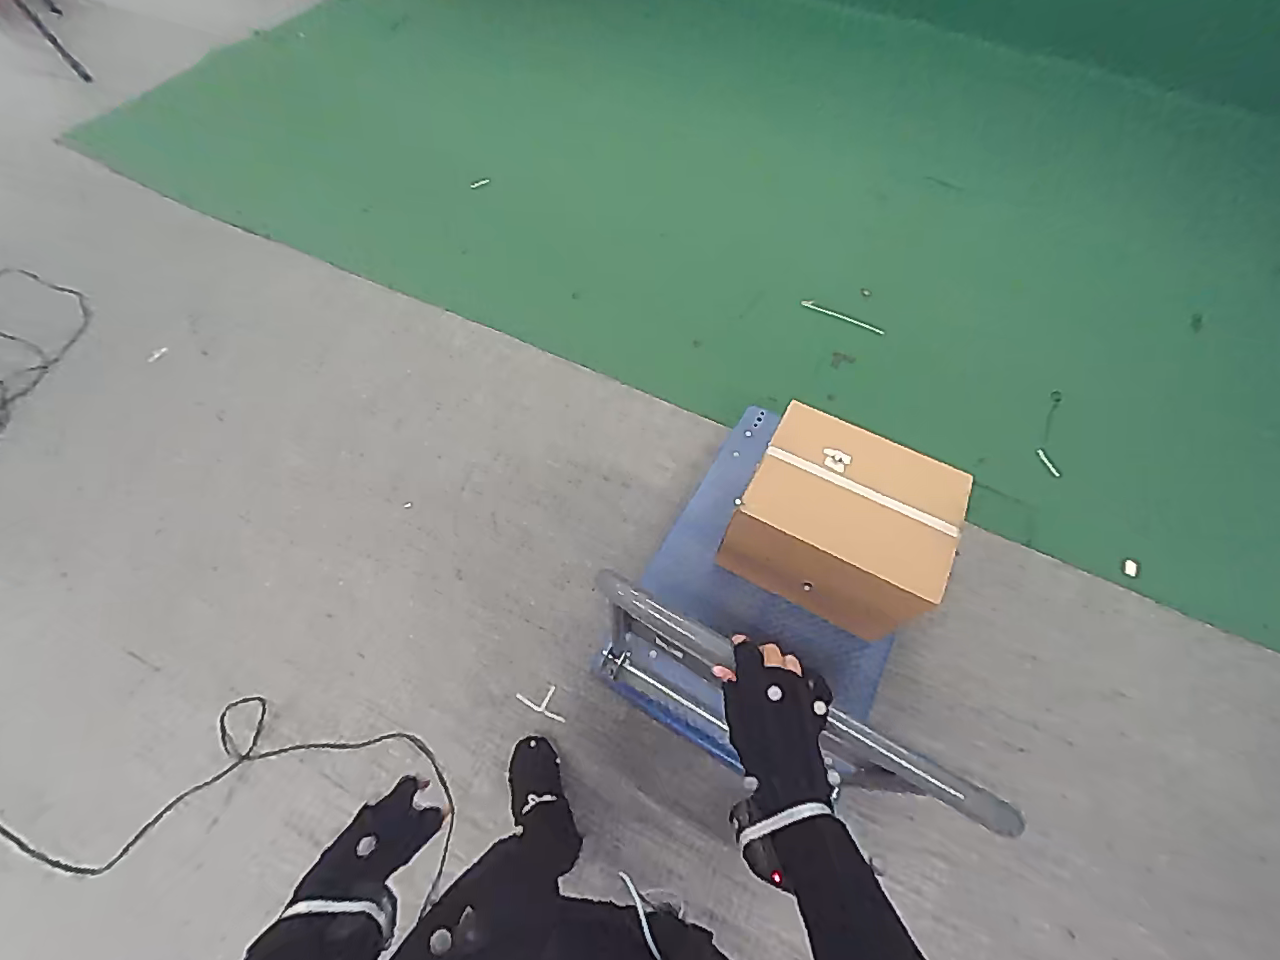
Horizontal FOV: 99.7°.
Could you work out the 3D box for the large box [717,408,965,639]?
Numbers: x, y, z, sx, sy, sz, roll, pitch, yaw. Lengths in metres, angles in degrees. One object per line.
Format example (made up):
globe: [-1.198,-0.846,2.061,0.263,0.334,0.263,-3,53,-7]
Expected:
large box: [0.434,0.107,1.233,0.408,0.320,0.320,26,62,13]
